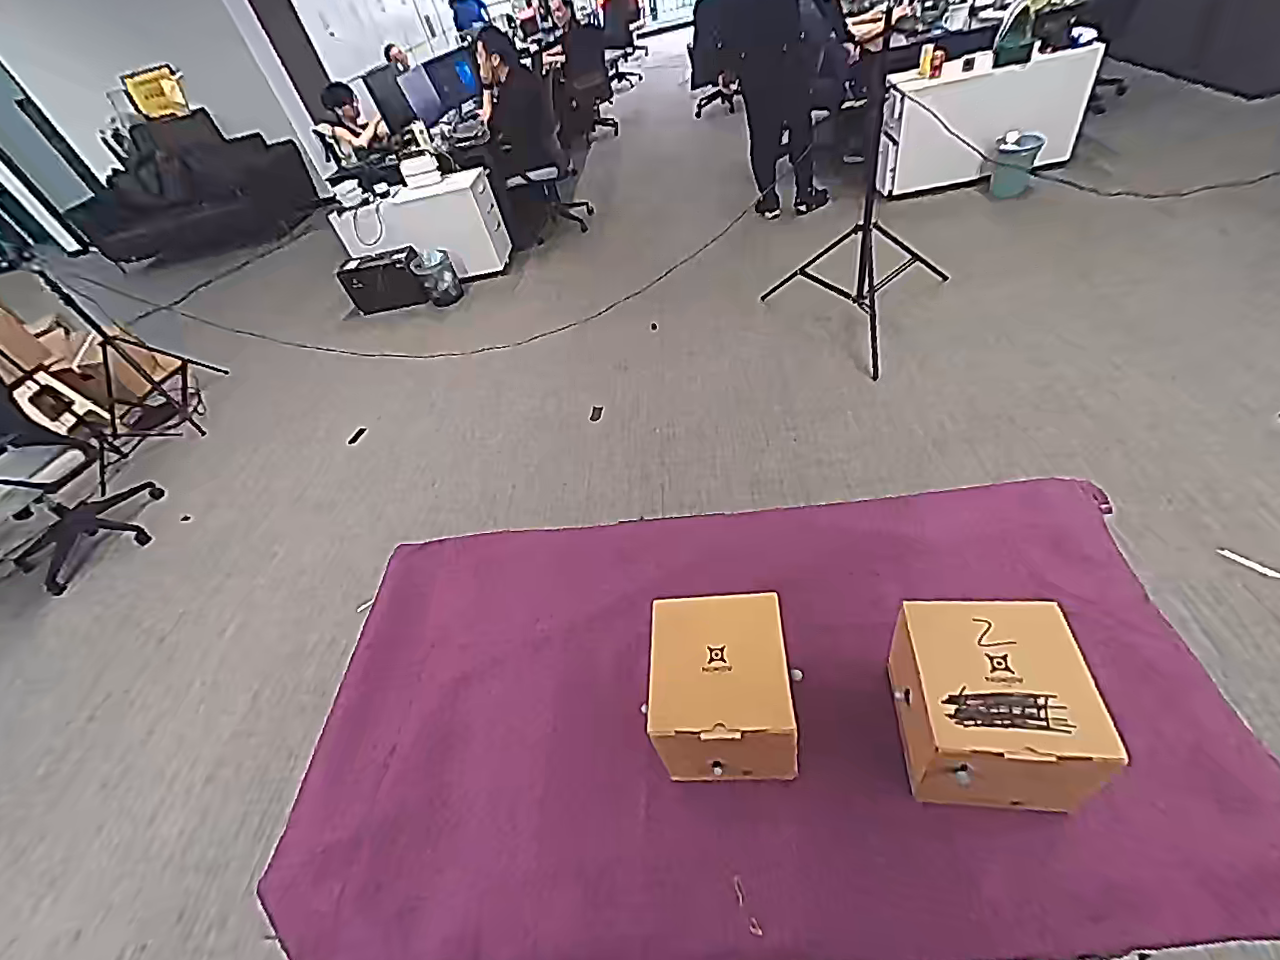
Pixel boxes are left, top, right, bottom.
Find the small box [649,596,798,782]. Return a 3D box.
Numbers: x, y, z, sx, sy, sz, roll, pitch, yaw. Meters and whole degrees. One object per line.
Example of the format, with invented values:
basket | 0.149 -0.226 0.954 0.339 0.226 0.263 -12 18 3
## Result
small box | 0.110 0.274 0.709 0.168 0.176 0.179 -6 45 10
